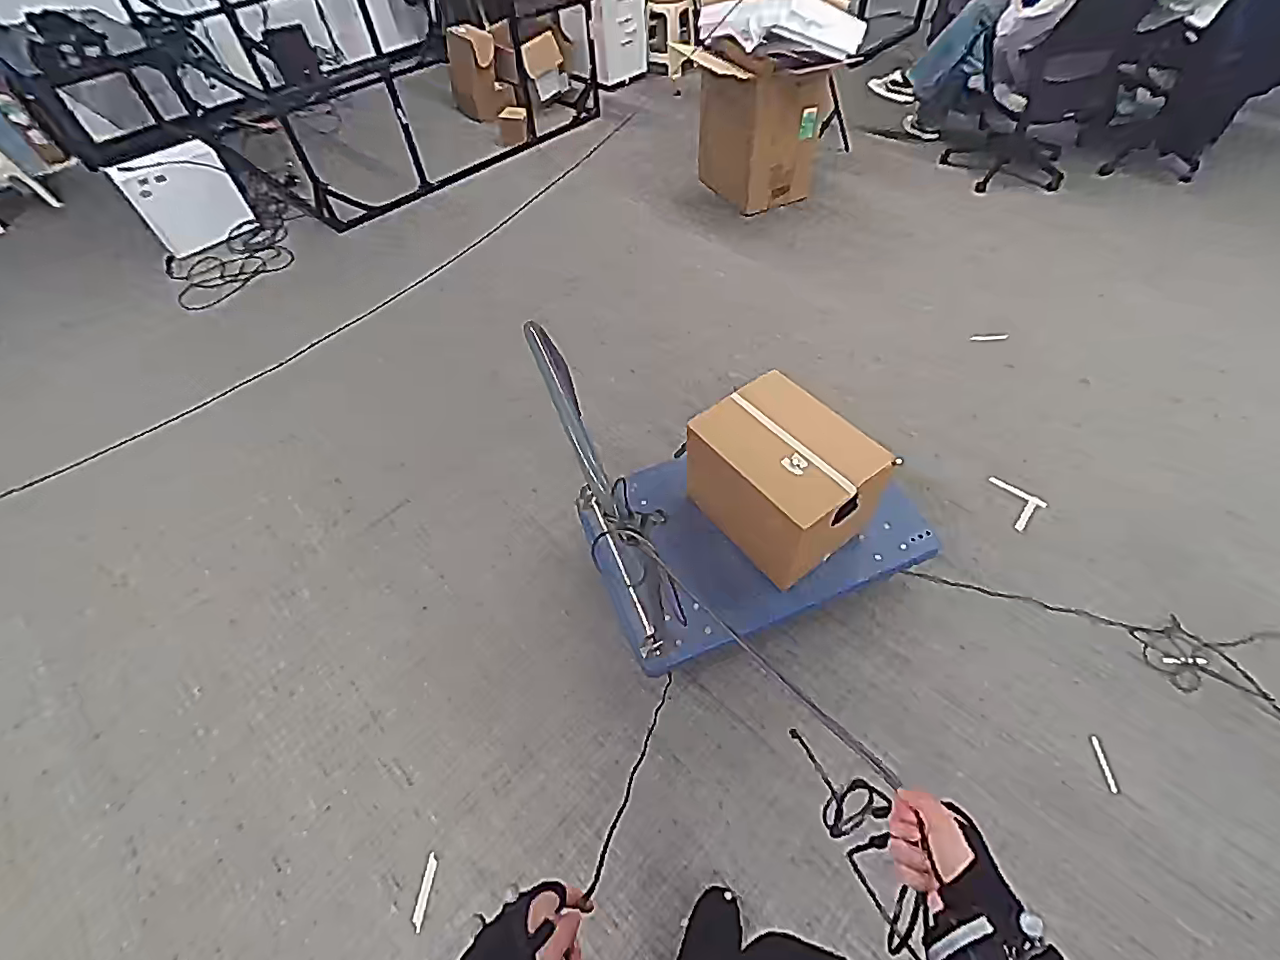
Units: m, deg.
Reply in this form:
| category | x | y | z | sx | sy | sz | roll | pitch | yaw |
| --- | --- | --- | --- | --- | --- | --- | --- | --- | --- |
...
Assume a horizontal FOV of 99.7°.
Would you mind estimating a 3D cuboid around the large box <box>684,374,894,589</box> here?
| category | x | y | z | sx | sy | sz | roll | pitch | yaw |
| --- | --- | --- | --- | --- | --- | --- | --- | --- | --- |
| large box | 0.357 | 0.000 | 1.418 | 0.320 | 0.320 | 0.408 | -33 | 58 | -18 |
